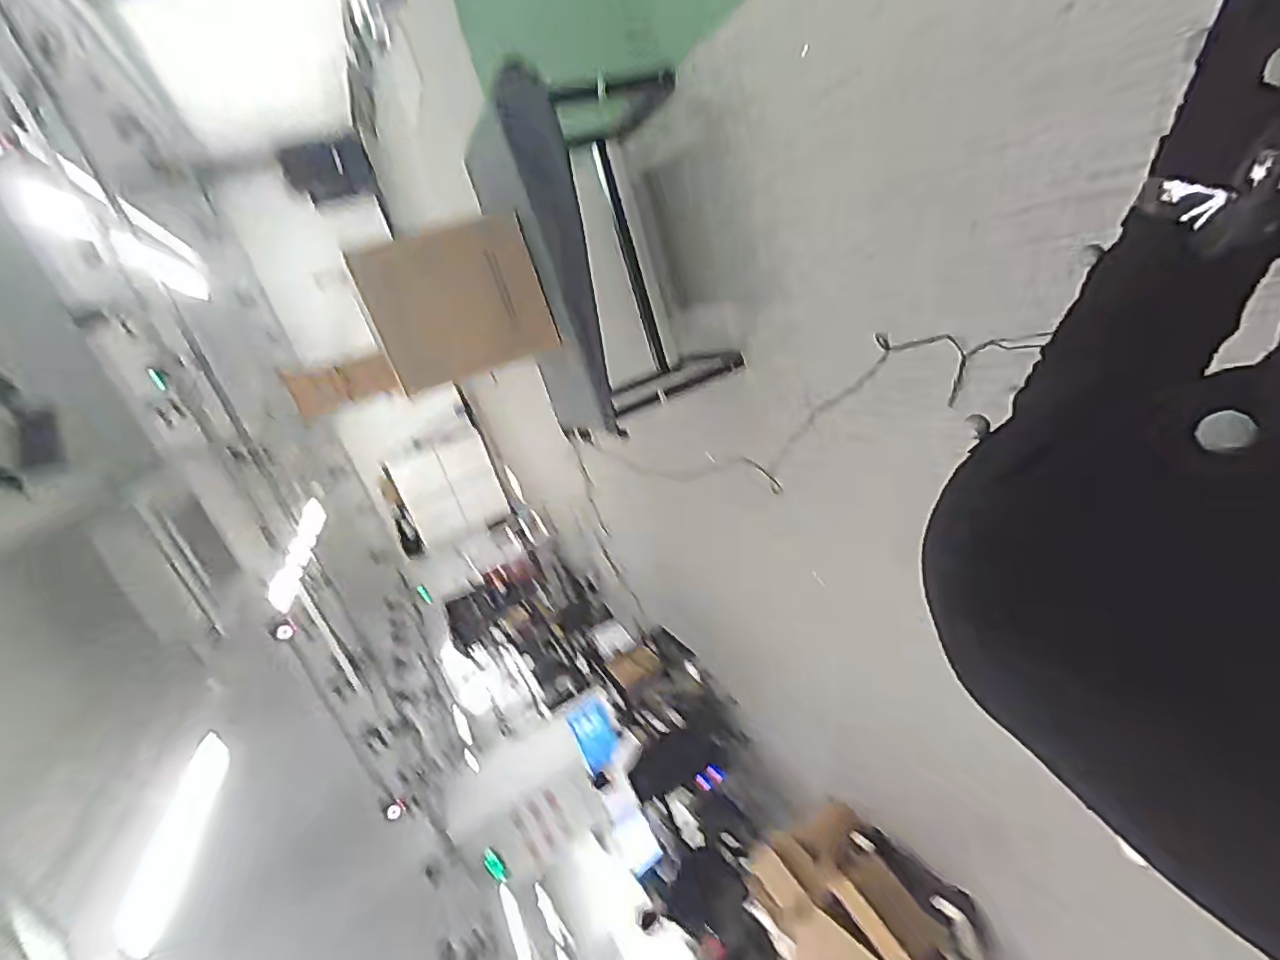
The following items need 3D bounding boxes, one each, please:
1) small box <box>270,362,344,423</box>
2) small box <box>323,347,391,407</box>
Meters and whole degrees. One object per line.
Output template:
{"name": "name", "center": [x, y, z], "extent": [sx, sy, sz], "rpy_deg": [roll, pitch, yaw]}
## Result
{"name": "small box", "center": [-1.149, -0.307, 1.881], "extent": [0.179, 0.176, 0.168], "rpy_deg": [15, 126, 61]}
{"name": "small box", "center": [-1.018, -0.372, 1.952], "extent": [0.179, 0.176, 0.168], "rpy_deg": [11, 123, 61]}
